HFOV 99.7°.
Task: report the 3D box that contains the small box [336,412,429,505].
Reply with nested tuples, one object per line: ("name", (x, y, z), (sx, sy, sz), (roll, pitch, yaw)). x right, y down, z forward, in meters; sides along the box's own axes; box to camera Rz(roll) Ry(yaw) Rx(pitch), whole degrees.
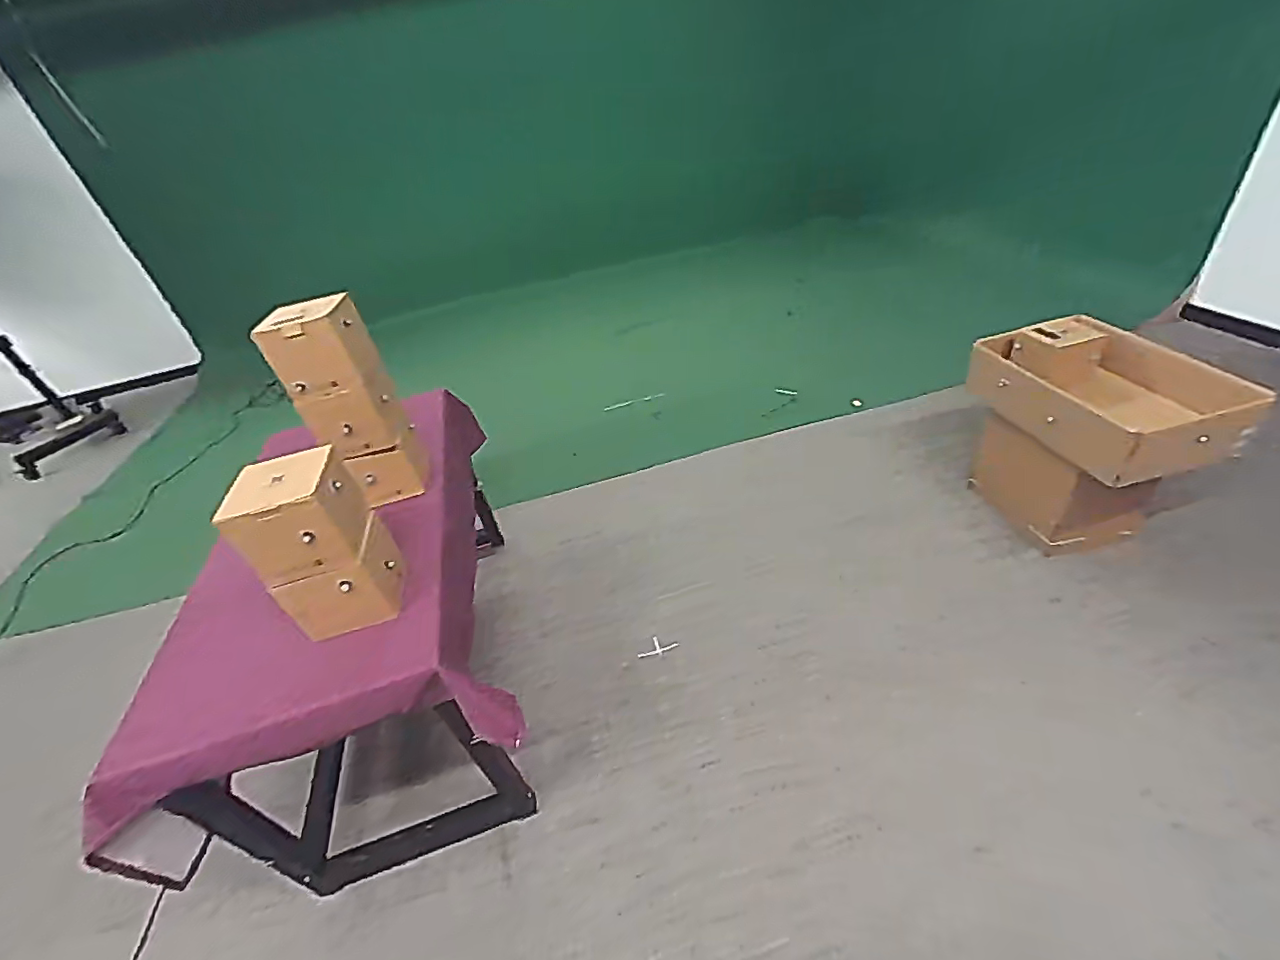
("small box", (-0.683, -0.051, 1.450), (0.168, 0.176, 0.179), (-17, 38, -5))

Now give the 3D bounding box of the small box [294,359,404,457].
("small box", (-0.711, -0.174, 1.344), (0.168, 0.176, 0.179), (-14, 38, -2))

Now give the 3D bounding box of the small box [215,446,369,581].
("small box", (-0.635, 0.068, 1.015), (0.168, 0.176, 0.179), (-16, 37, -6))

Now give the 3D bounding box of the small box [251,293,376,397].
("small box", (-0.741, -0.307, 1.251), (0.168, 0.176, 0.179), (-15, 36, -2))

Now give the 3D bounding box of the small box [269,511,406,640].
("small box", (-0.605, 0.197, 1.111), (0.179, 0.176, 0.168), (-16, 37, -4))
